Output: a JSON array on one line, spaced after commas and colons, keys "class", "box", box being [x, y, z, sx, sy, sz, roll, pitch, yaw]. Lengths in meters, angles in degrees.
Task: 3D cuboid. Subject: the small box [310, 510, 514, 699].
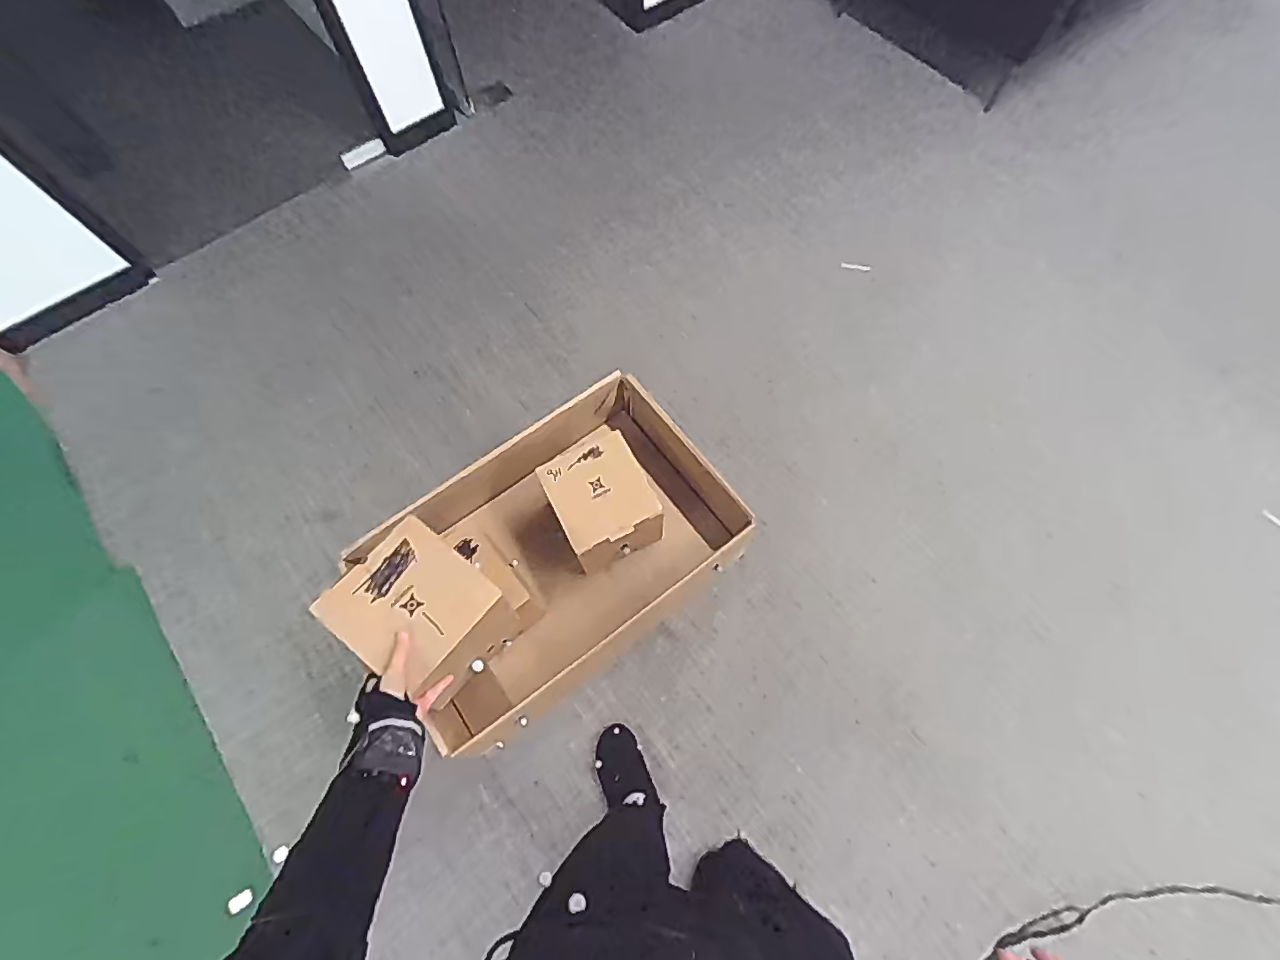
[{"class": "small box", "box": [-0.297, 0.179, 0.743, 0.179, 0.176, 0.168, 38, 66, 13]}]
